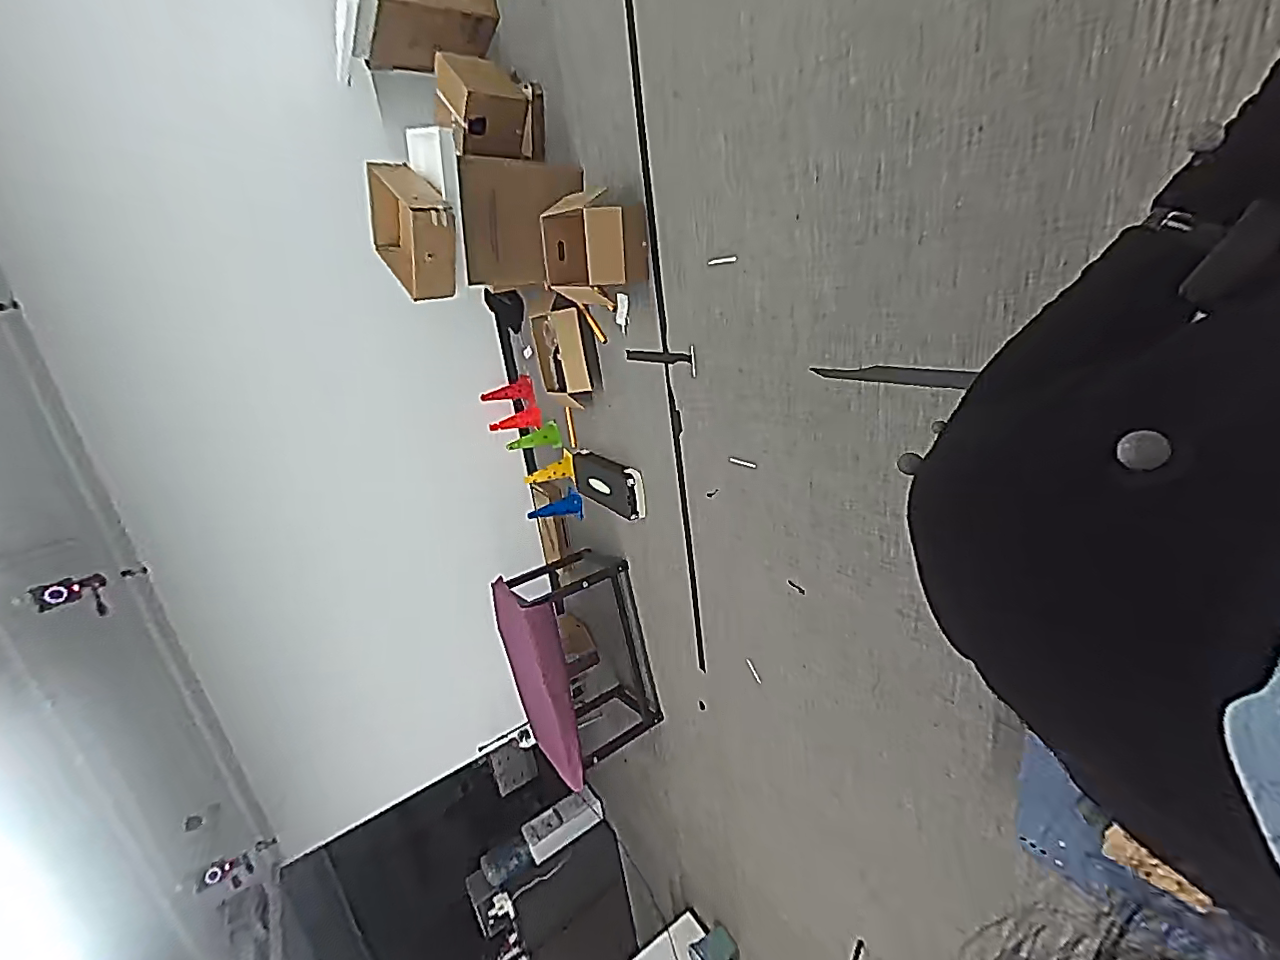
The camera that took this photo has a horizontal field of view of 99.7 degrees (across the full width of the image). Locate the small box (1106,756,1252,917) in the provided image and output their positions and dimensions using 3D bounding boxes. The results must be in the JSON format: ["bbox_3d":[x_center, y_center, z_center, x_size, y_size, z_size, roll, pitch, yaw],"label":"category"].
[{"bbox_3d":[1.094,0.713,1.100,0.168,0.176,0.179,19,122,54],"label":"small box"}]
